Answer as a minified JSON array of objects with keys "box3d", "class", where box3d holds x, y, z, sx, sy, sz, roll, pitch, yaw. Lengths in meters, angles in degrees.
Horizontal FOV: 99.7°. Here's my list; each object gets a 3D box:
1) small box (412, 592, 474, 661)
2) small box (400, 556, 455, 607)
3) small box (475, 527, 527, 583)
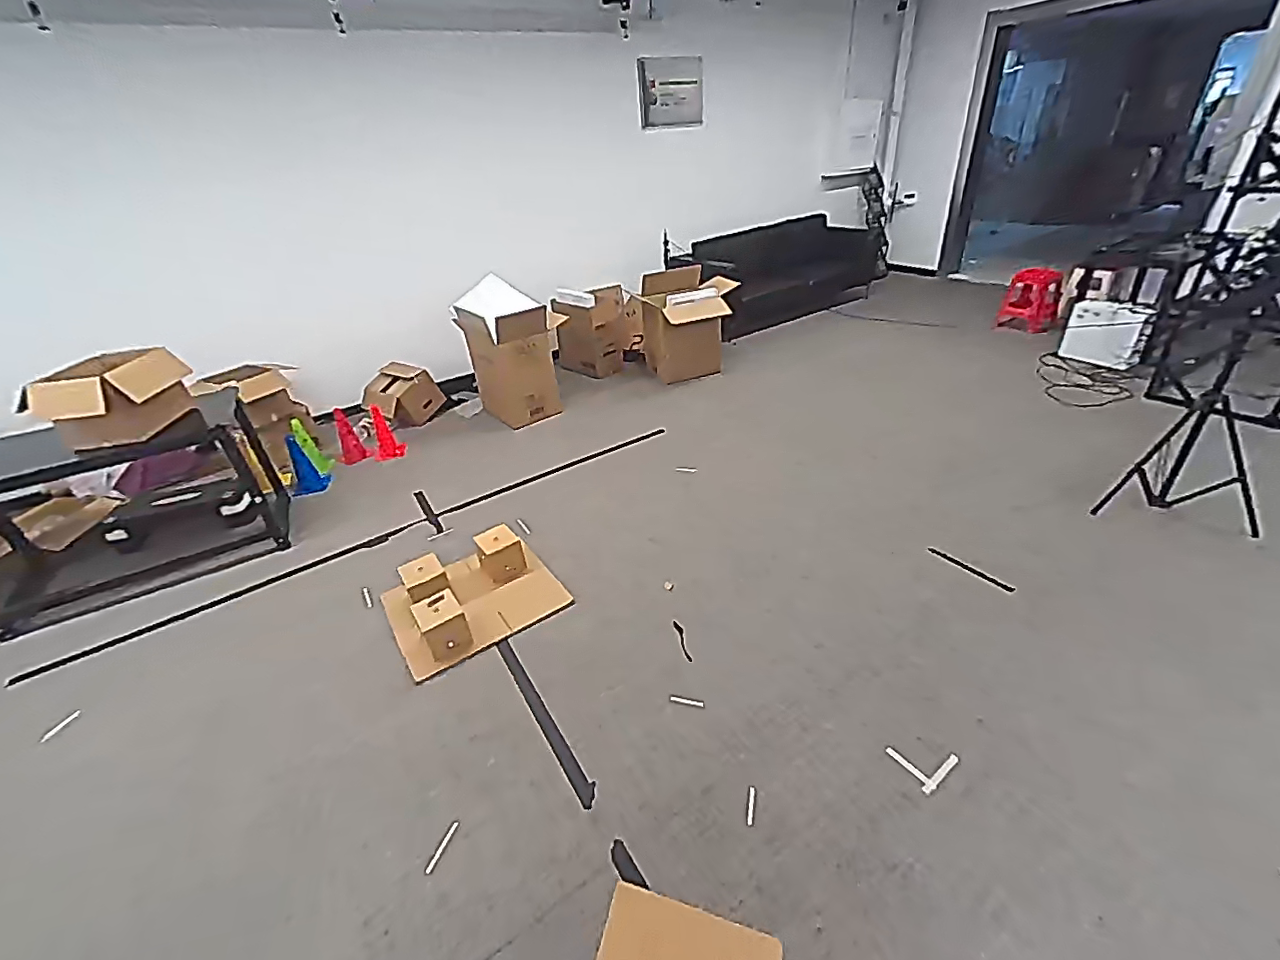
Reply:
[{"box3d":[-0.791,0.590,2.177,0.168,0.176,0.179,-25,37,-27],"class":"small box"},{"box3d":[-0.938,0.472,2.391,0.168,0.176,0.179,-24,36,-27],"class":"small box"},{"box3d":[-0.654,0.357,2.548,0.168,0.176,0.179,-26,37,-30],"class":"small box"}]
